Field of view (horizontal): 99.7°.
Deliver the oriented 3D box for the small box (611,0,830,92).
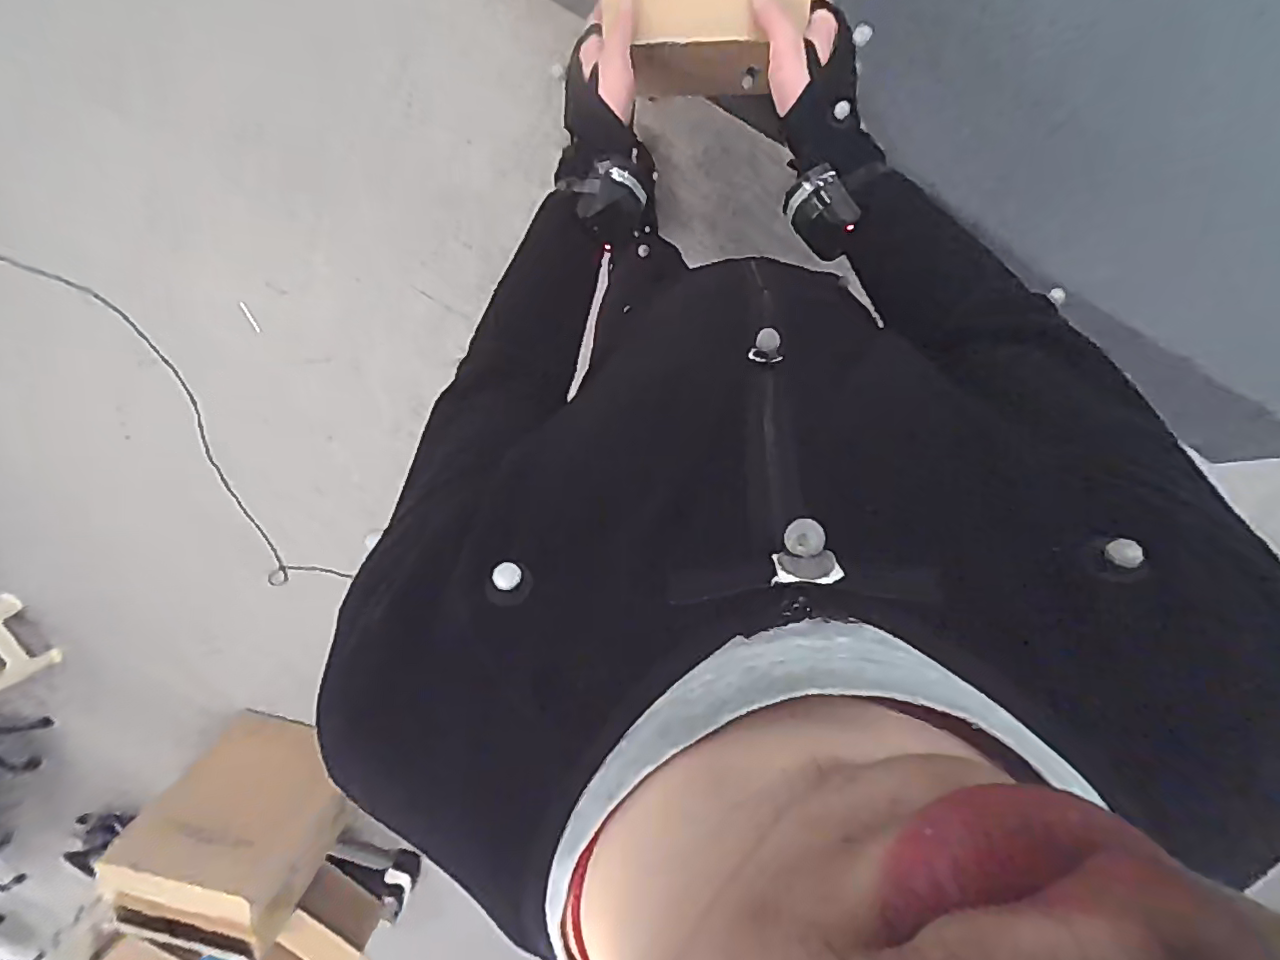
[{"bbox_3d":[0.068,-0.468,0.481,0.179,0.176,0.168,1,111,5],"label":"small box"}]
